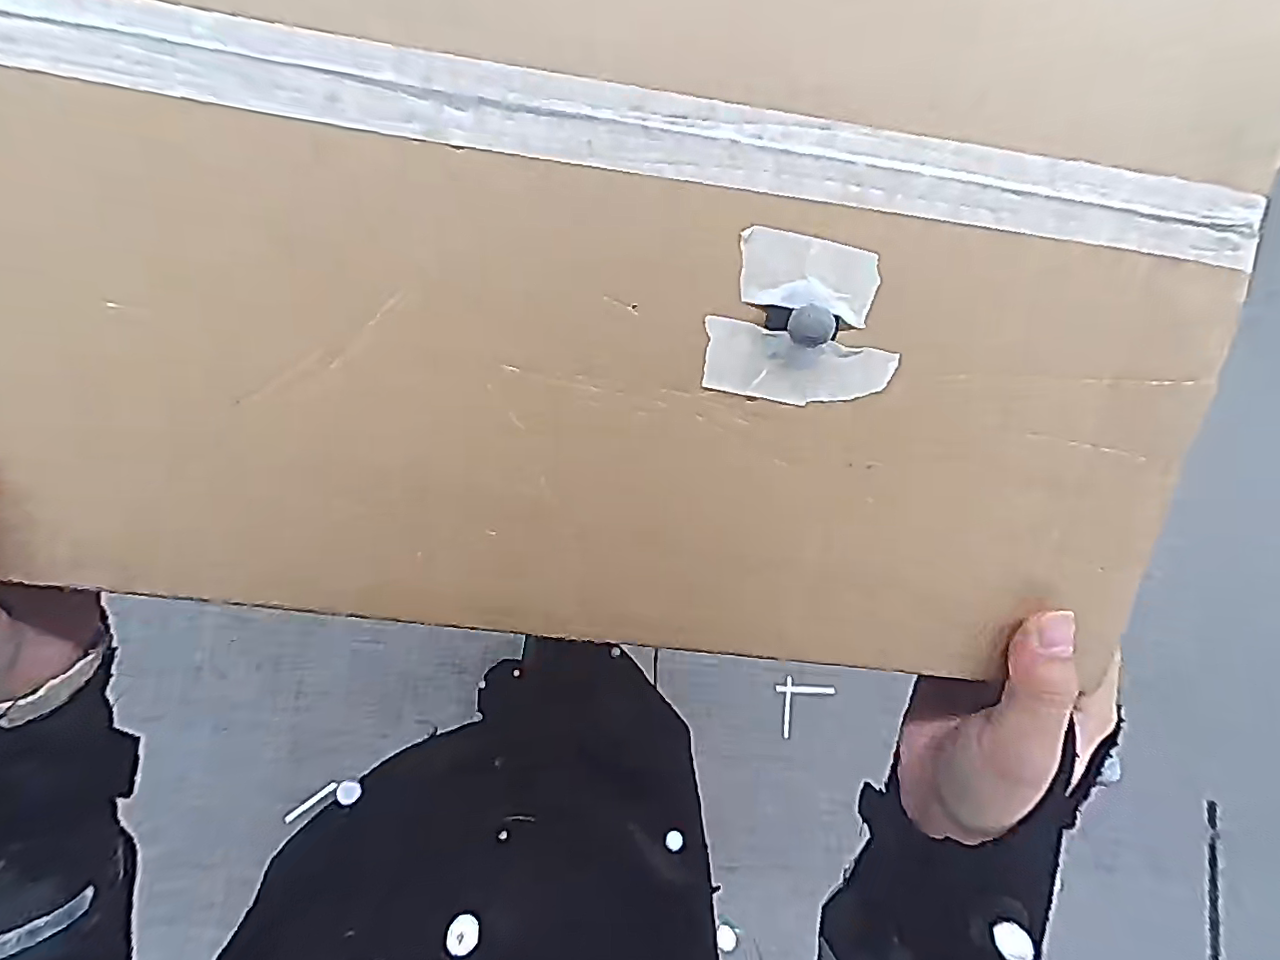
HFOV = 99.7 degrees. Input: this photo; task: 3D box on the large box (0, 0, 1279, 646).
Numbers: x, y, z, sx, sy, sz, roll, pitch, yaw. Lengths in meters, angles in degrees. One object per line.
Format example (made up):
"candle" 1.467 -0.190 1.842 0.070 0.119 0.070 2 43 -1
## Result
"large box" -0.018 -0.131 0.312 0.408 0.320 0.320 7 102 -5
